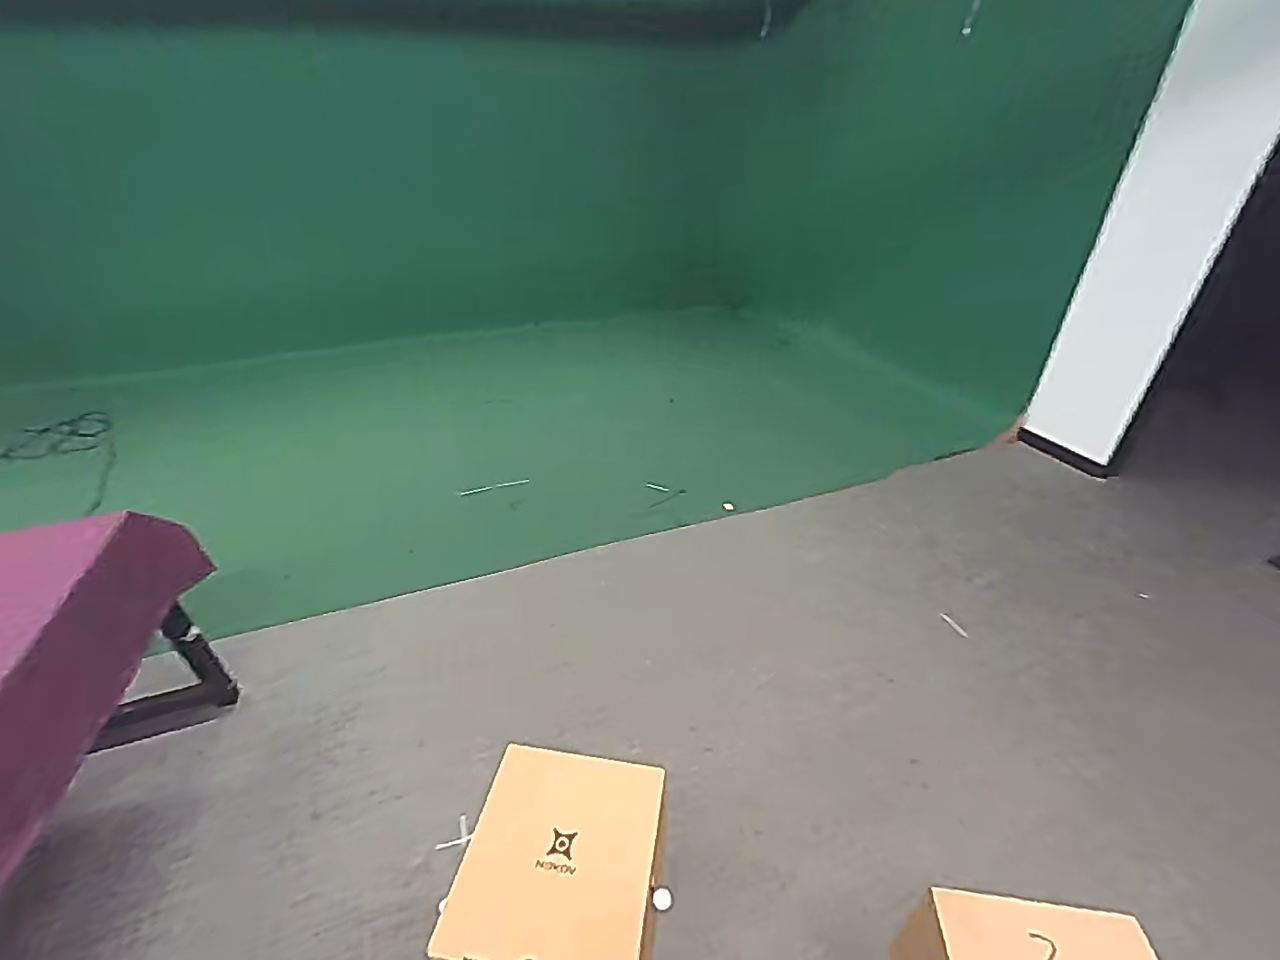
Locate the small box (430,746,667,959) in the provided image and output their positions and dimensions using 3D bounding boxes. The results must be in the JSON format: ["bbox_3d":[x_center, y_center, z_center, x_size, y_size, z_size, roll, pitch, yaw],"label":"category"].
[{"bbox_3d":[-0.070,0.395,0.517,0.168,0.176,0.179,5,34,9],"label":"small box"}]
